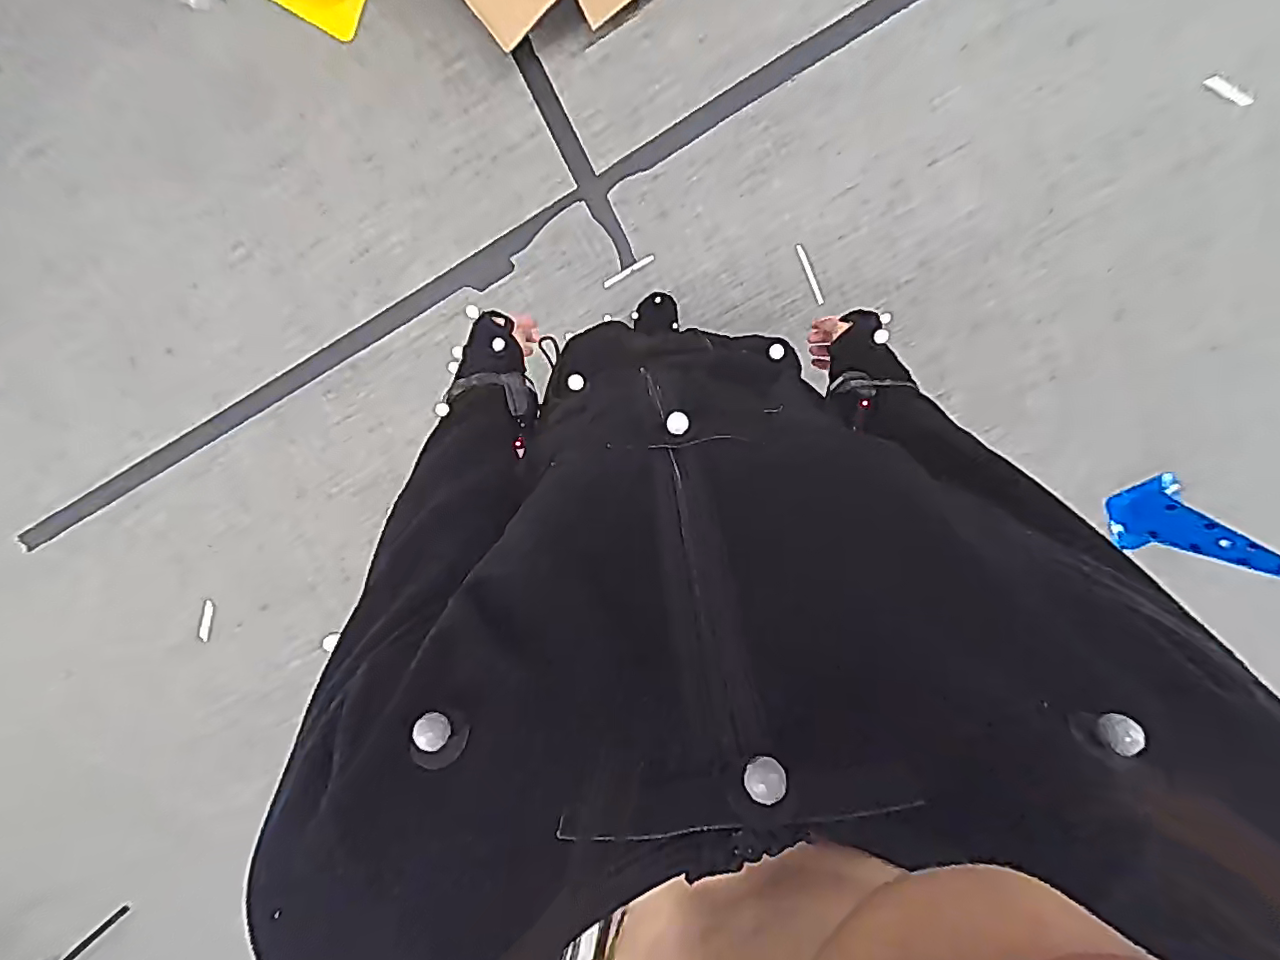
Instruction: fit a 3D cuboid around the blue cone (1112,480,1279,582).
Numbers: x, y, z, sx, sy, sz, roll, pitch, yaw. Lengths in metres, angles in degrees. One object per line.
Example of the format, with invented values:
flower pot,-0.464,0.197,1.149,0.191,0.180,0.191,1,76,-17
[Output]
blue cone,1.461,0.156,1.393,0.193,0.380,0.192,-24,108,5
